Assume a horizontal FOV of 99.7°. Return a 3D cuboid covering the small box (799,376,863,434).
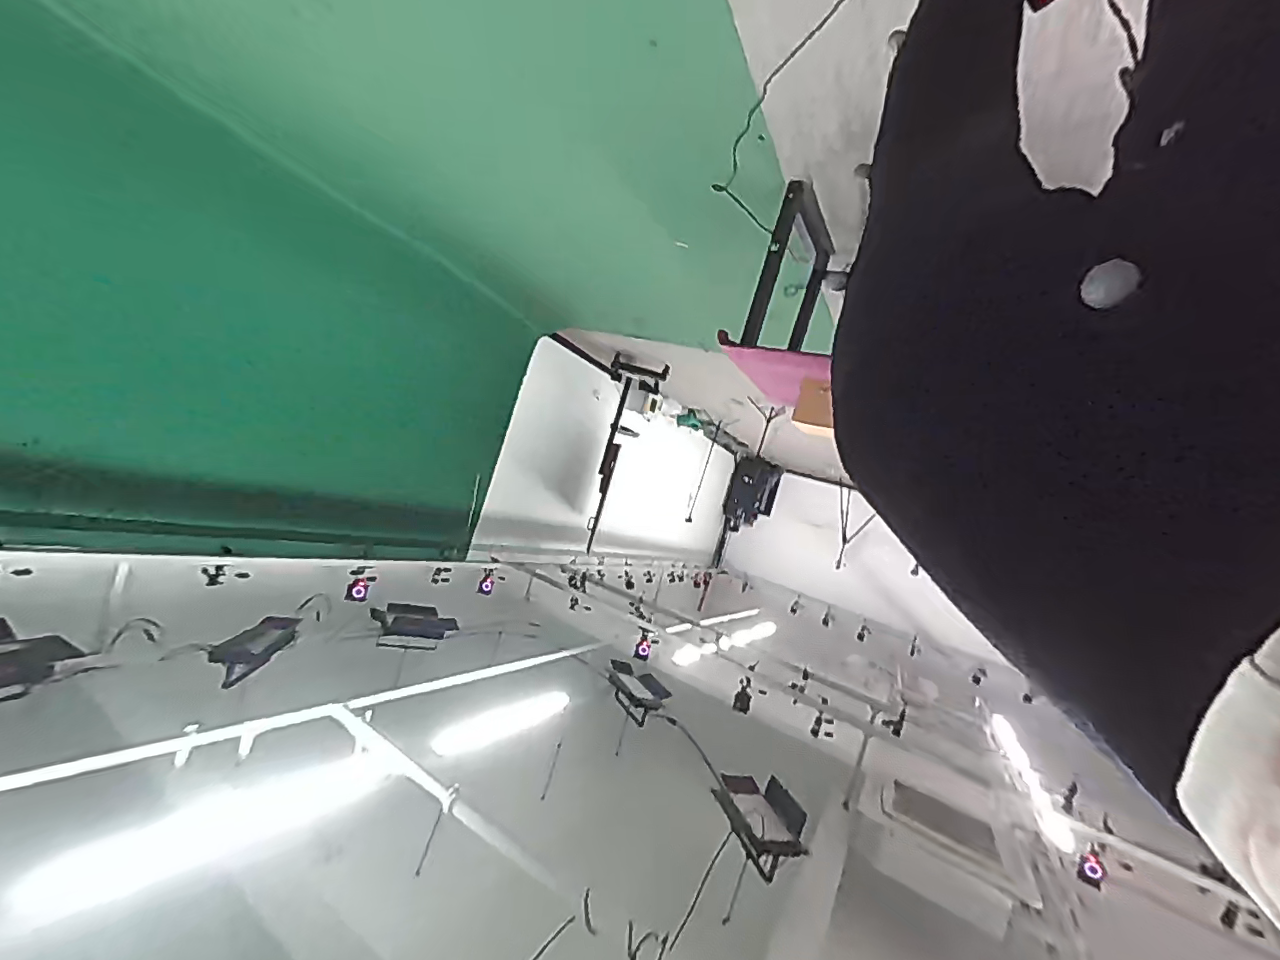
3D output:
[{"bbox_3d":[0.736,-0.292,2.079,0.179,0.176,0.168,18,180,31],"label":"small box"}]
